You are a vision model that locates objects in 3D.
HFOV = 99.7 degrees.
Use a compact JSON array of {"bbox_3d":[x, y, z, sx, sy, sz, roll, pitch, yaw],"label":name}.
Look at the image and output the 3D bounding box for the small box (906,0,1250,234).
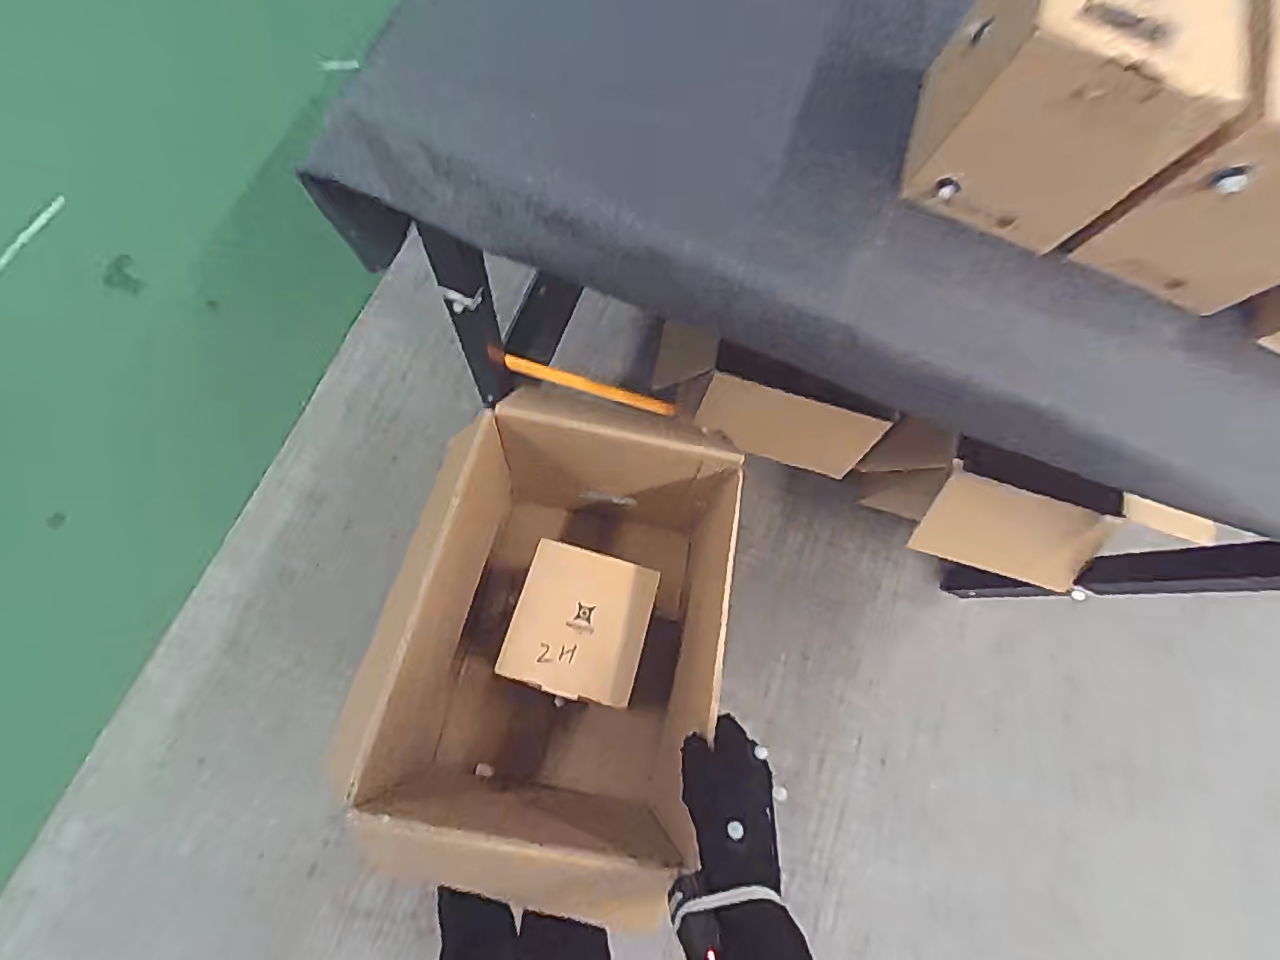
[{"bbox_3d":[0.368,-0.359,0.480,0.168,0.176,0.179,19,75,-4],"label":"small box"}]
